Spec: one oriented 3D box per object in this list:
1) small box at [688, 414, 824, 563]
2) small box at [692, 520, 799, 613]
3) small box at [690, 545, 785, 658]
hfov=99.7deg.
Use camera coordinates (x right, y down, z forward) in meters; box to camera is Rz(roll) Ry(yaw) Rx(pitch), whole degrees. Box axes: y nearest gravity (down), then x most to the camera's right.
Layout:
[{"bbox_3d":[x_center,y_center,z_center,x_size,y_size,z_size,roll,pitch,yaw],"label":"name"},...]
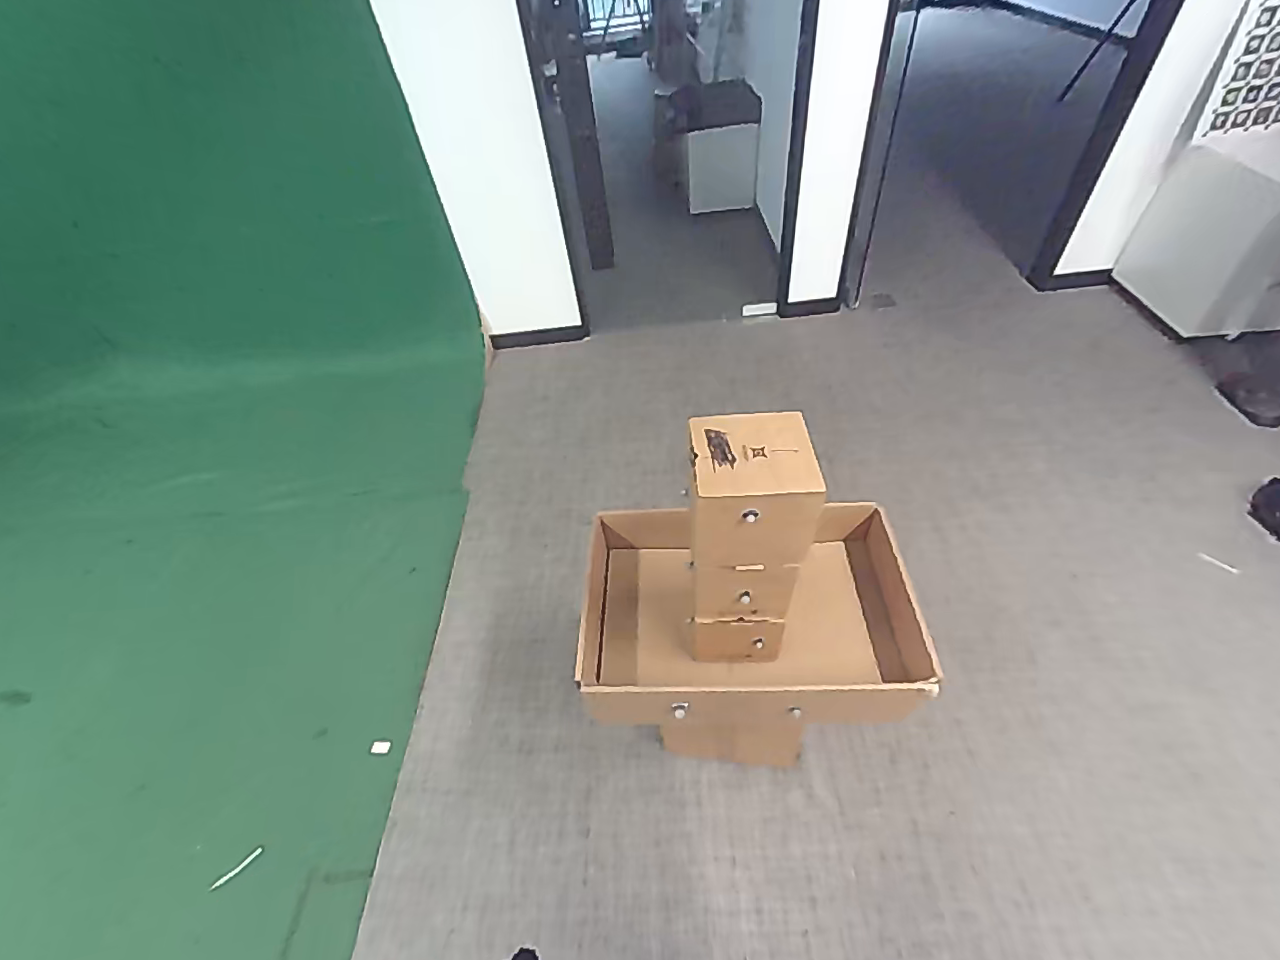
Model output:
[{"bbox_3d":[0.168,0.017,0.842,0.179,0.176,0.168,-2,48,2],"label":"small box"},{"bbox_3d":[0.178,0.126,0.966,0.168,0.176,0.179,-2,48,3],"label":"small box"},{"bbox_3d":[0.188,0.243,1.080,0.168,0.176,0.179,-2,46,3],"label":"small box"}]
